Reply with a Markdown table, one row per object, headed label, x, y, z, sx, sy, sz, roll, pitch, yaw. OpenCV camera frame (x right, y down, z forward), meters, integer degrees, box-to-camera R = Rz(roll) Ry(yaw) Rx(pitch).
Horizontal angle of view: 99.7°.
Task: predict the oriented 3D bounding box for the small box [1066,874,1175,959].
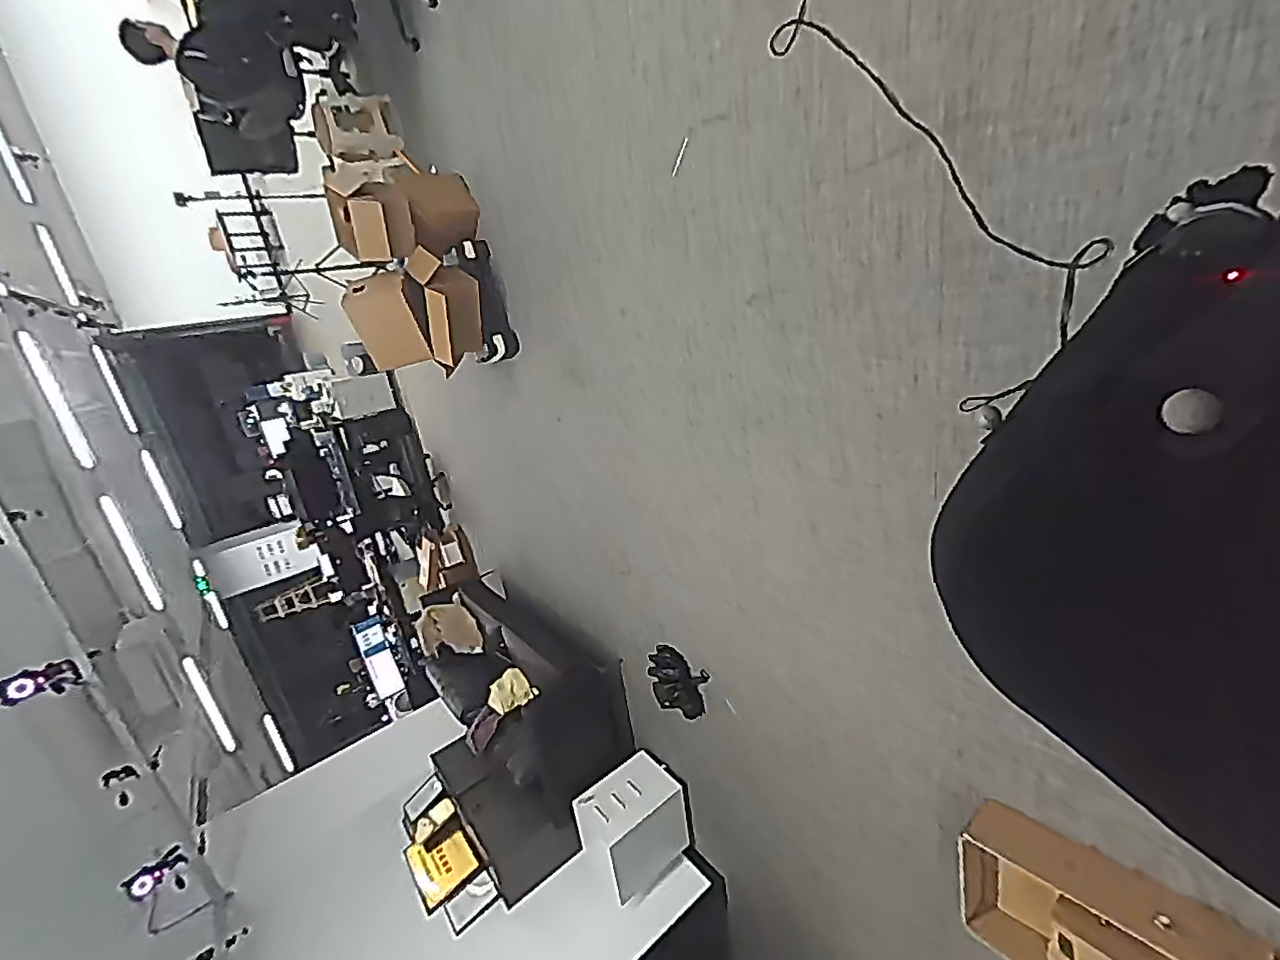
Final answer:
| label | x | y | z | sx | sy | sz | roll | pitch | yaw |
| --- | --- | --- | --- | --- | --- | --- | --- | --- | --- |
| small box | 1.252 | 1.185 | 1.412 | 0.179 | 0.176 | 0.168 | 11 | 119 | 51 |
